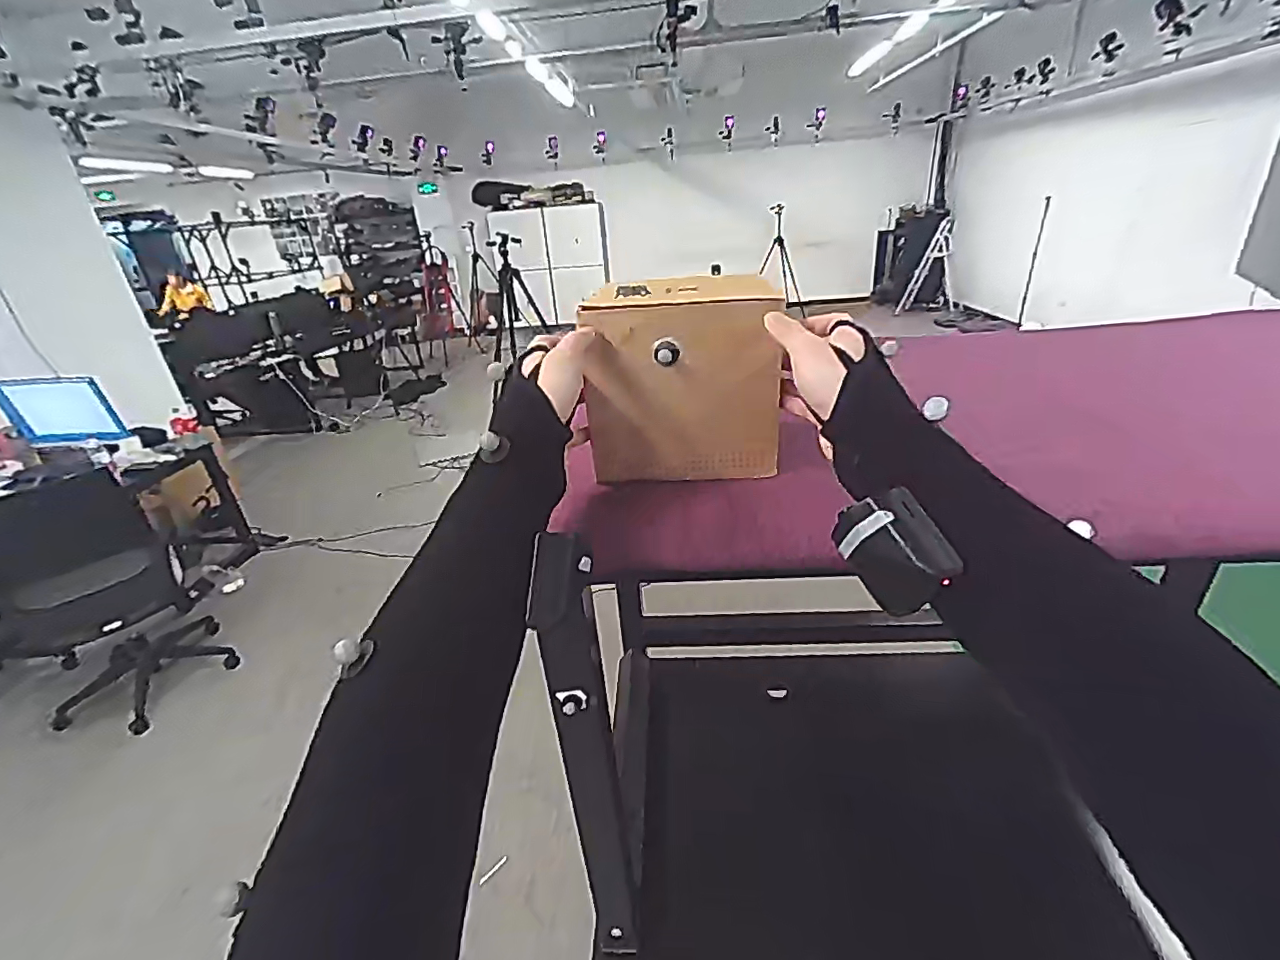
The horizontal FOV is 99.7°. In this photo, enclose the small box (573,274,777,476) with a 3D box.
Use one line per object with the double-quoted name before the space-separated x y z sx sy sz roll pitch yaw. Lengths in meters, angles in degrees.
"small box" 0.041 -0.110 0.555 0.179 0.176 0.168 -1 26 6
